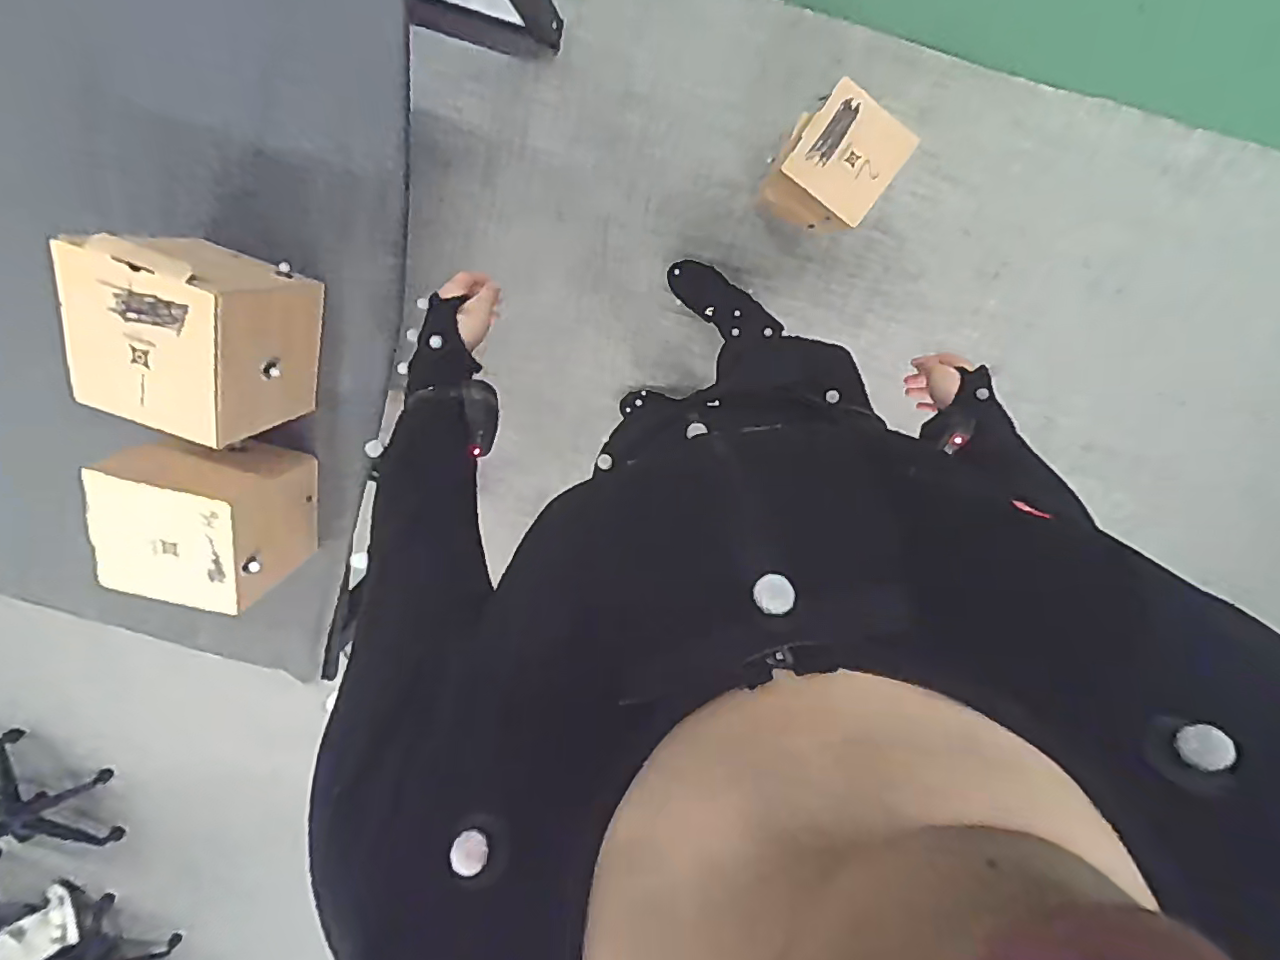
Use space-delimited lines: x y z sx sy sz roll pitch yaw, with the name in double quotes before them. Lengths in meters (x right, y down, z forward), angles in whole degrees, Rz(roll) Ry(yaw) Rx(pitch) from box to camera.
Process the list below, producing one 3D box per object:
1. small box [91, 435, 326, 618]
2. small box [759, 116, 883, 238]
"small box" -0.560 0.051 0.726 0.179 0.176 0.168 15 113 -1
"small box" 0.376 -0.638 1.159 0.179 0.176 0.168 24 112 -5
